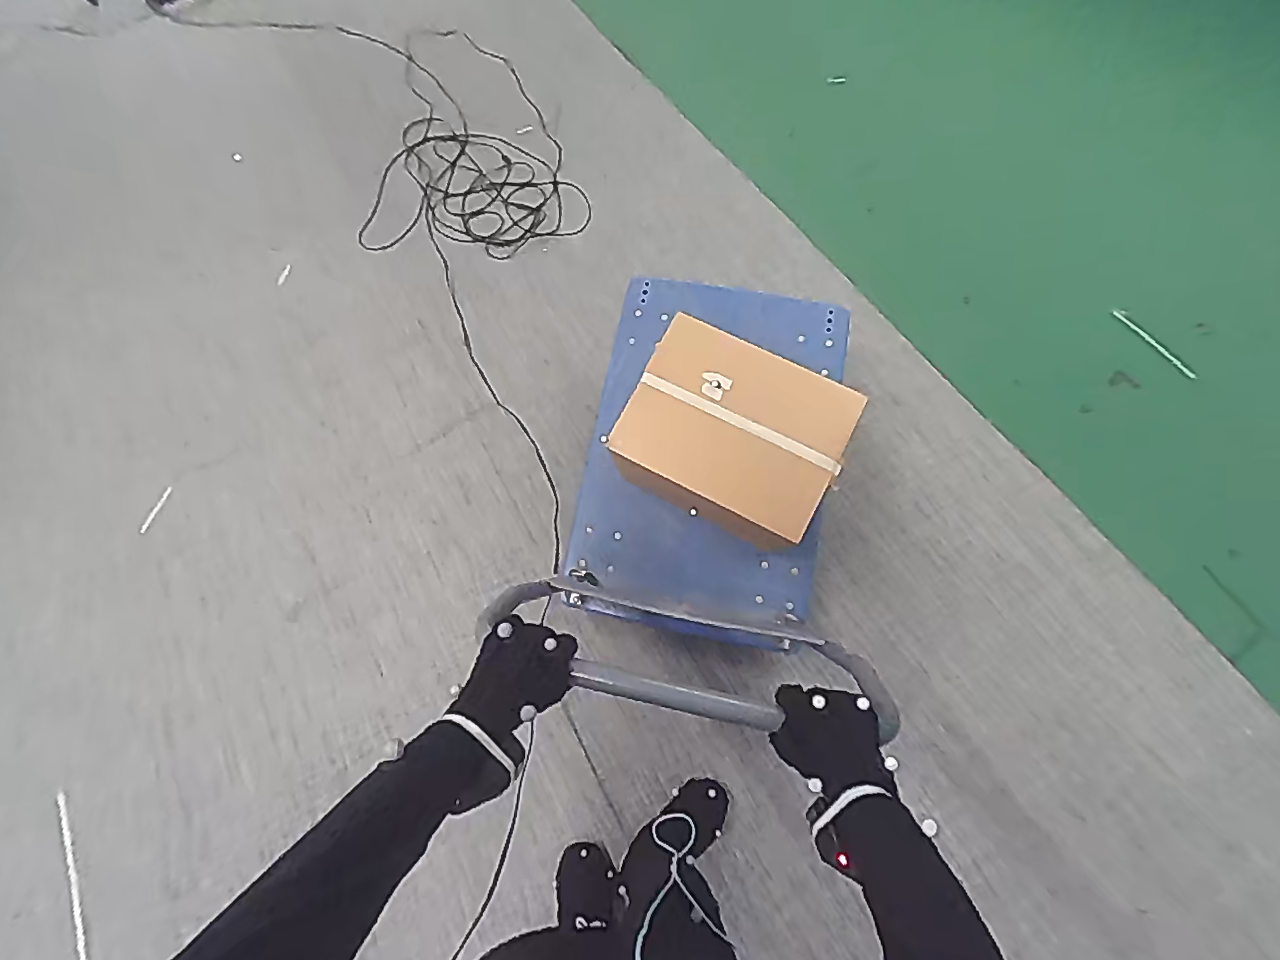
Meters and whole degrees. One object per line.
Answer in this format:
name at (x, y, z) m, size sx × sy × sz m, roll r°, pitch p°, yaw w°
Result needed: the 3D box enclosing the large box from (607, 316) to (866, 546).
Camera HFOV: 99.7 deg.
large box at (0.196, -0.083, 1.162) m, size 0.408 × 0.320 × 0.320 m, roll 26°, pitch 82°, yaw 10°
